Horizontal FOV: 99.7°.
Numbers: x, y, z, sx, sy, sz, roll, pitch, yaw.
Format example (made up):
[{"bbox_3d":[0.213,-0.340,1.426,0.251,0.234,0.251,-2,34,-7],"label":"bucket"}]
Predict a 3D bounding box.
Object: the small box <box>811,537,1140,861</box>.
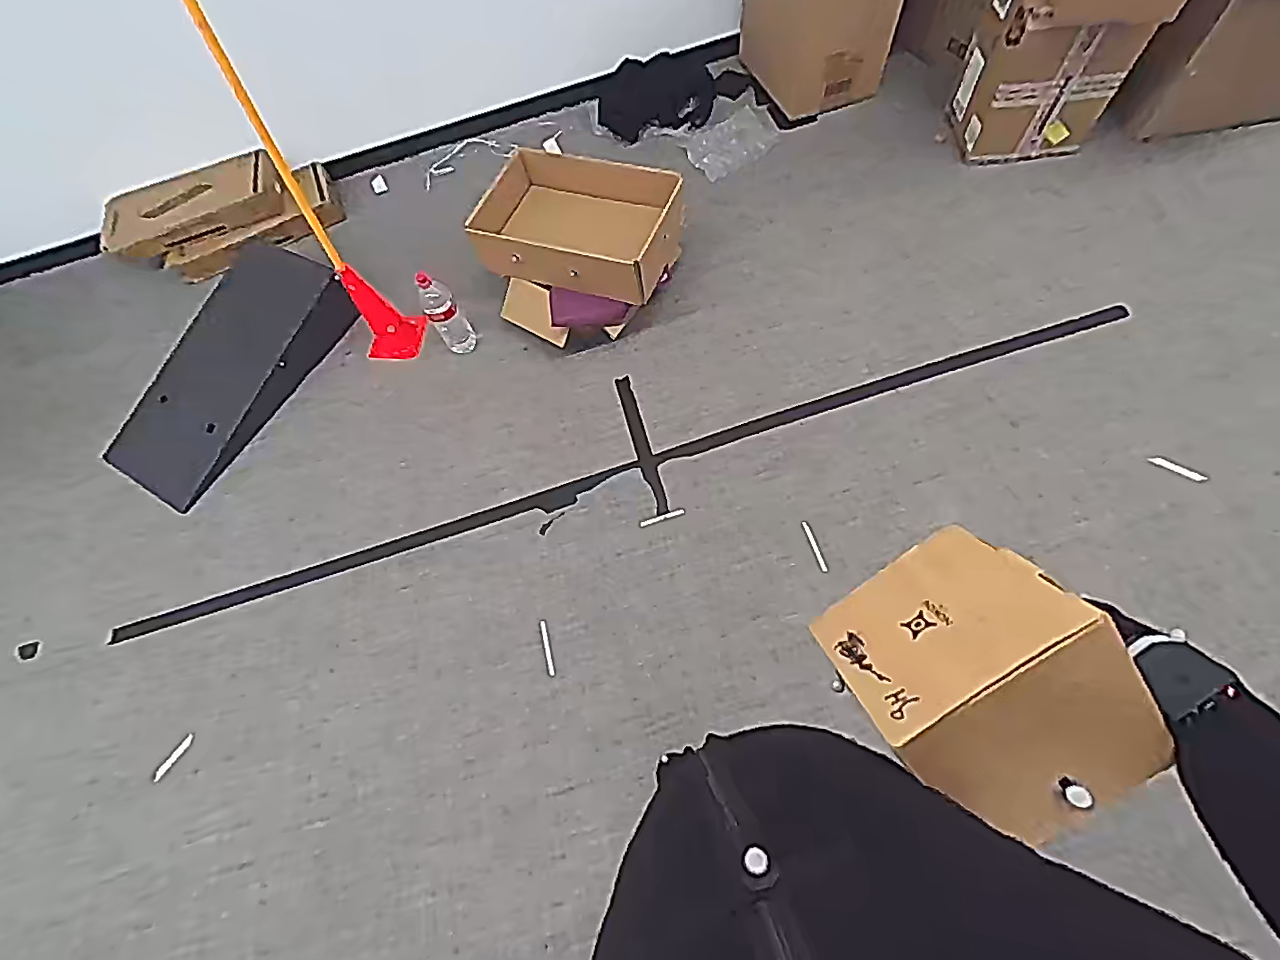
[{"bbox_3d":[0.297,0.190,0.494,0.179,0.168,0.176,-37,106,7],"label":"small box"}]
